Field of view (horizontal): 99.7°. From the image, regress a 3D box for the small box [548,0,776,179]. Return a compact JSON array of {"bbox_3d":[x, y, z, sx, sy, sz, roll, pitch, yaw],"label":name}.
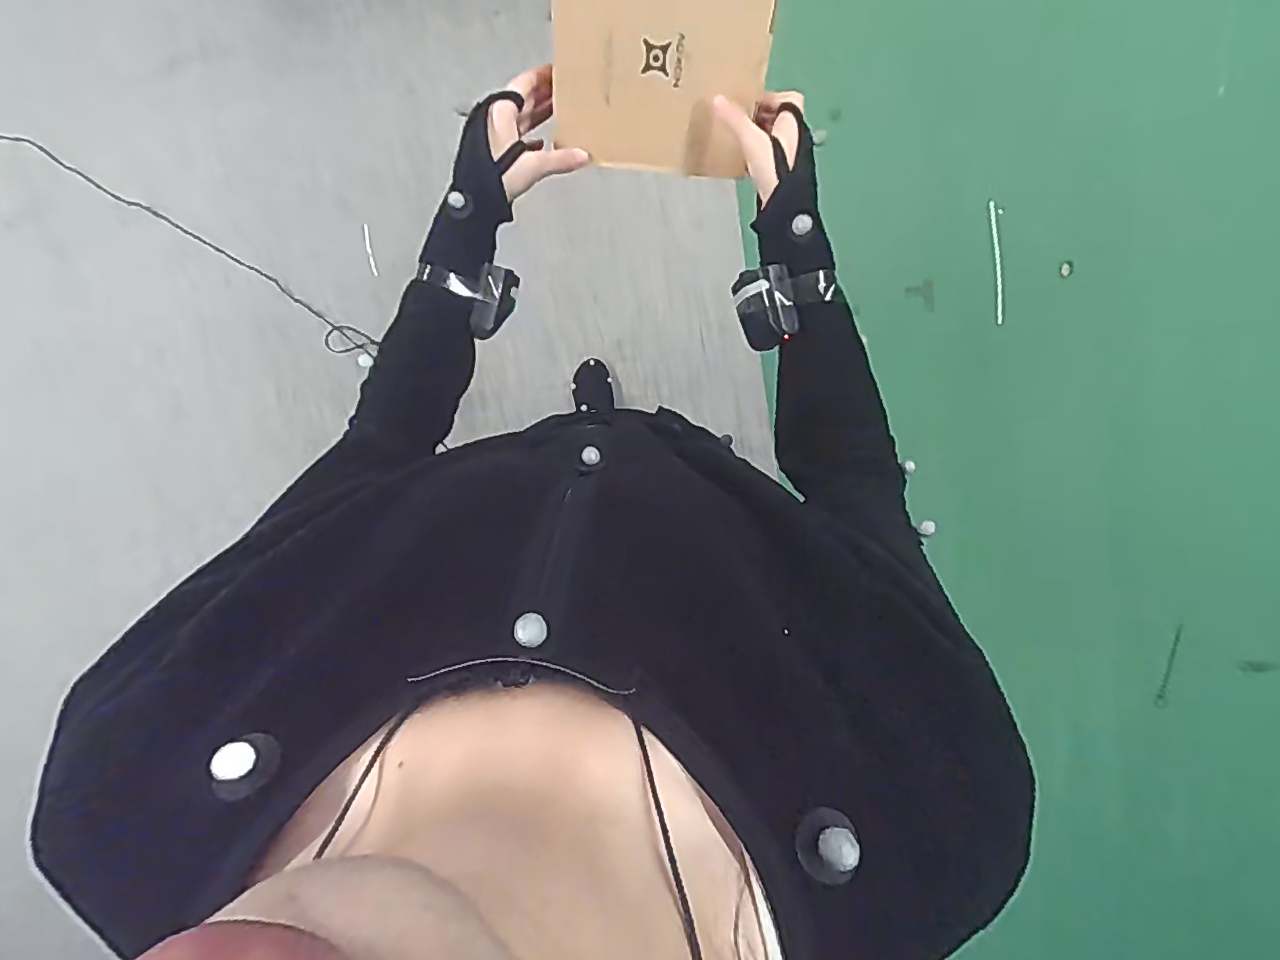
[{"bbox_3d":[0.010,-0.392,0.492,0.179,0.176,0.168,2,130,-6],"label":"small box"}]
